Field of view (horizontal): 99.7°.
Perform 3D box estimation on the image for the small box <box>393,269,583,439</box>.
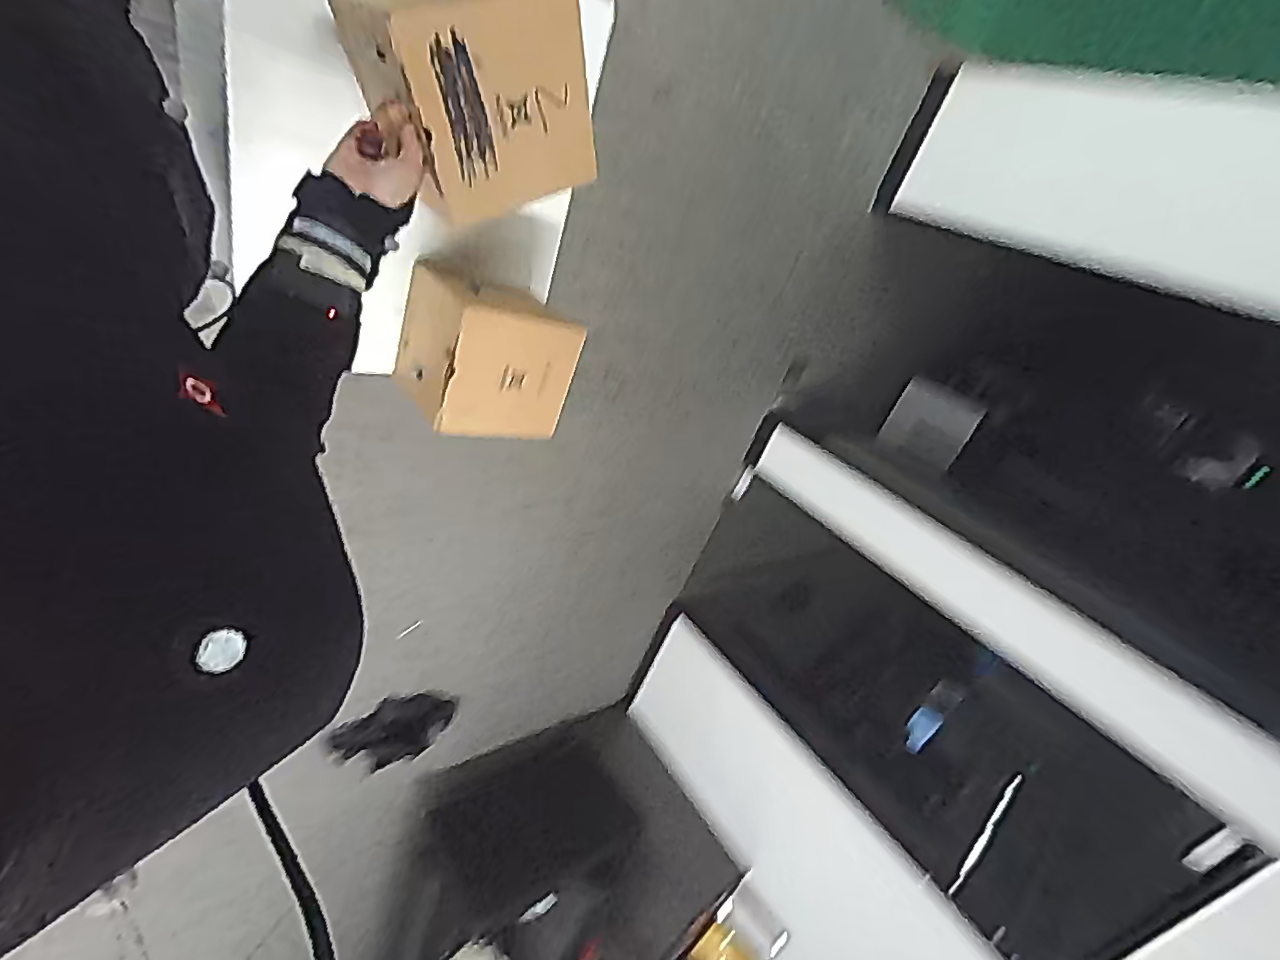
[{"bbox_3d":[-0.215,-0.171,0.739,0.179,0.176,0.168,-3,126,-45],"label":"small box"}]
